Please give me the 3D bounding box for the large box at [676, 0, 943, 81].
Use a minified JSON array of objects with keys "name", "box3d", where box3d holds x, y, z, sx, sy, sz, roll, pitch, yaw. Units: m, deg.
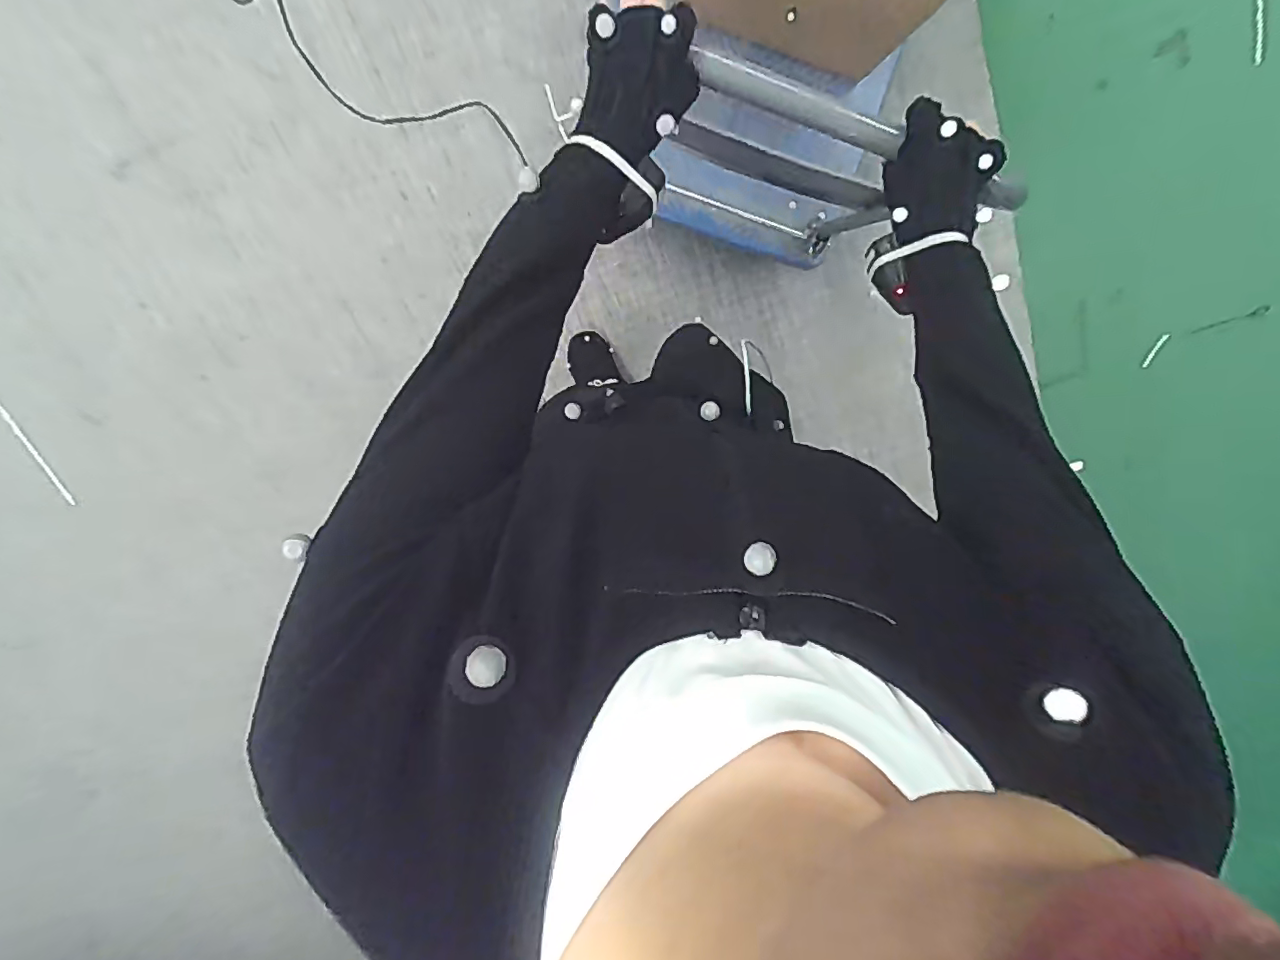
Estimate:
[{"name":"large box","box3d":[0.307,-0.960,0.908,0.408,0.320,0.320,15,104,-8]}]
